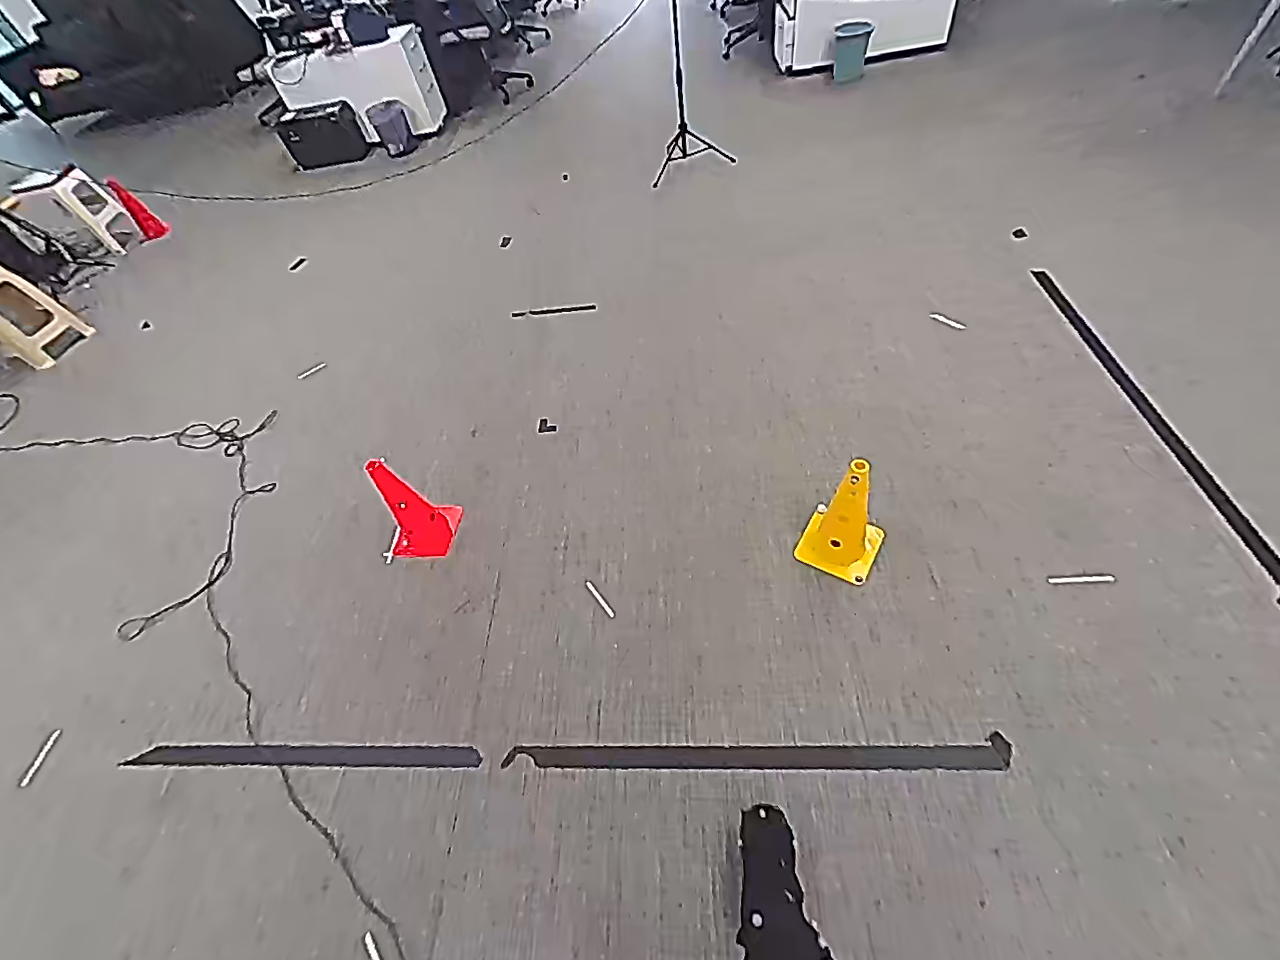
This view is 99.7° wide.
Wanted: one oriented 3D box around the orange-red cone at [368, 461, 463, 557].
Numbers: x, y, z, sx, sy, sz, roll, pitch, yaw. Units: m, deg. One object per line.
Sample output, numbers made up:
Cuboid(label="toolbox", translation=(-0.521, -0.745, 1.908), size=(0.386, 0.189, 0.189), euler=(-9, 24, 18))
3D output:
Cuboid(label="orange-red cone", translation=(-0.727, 0.064, 1.669), size=(0.199, 0.360, 0.198), euler=(2, 53, 11))
